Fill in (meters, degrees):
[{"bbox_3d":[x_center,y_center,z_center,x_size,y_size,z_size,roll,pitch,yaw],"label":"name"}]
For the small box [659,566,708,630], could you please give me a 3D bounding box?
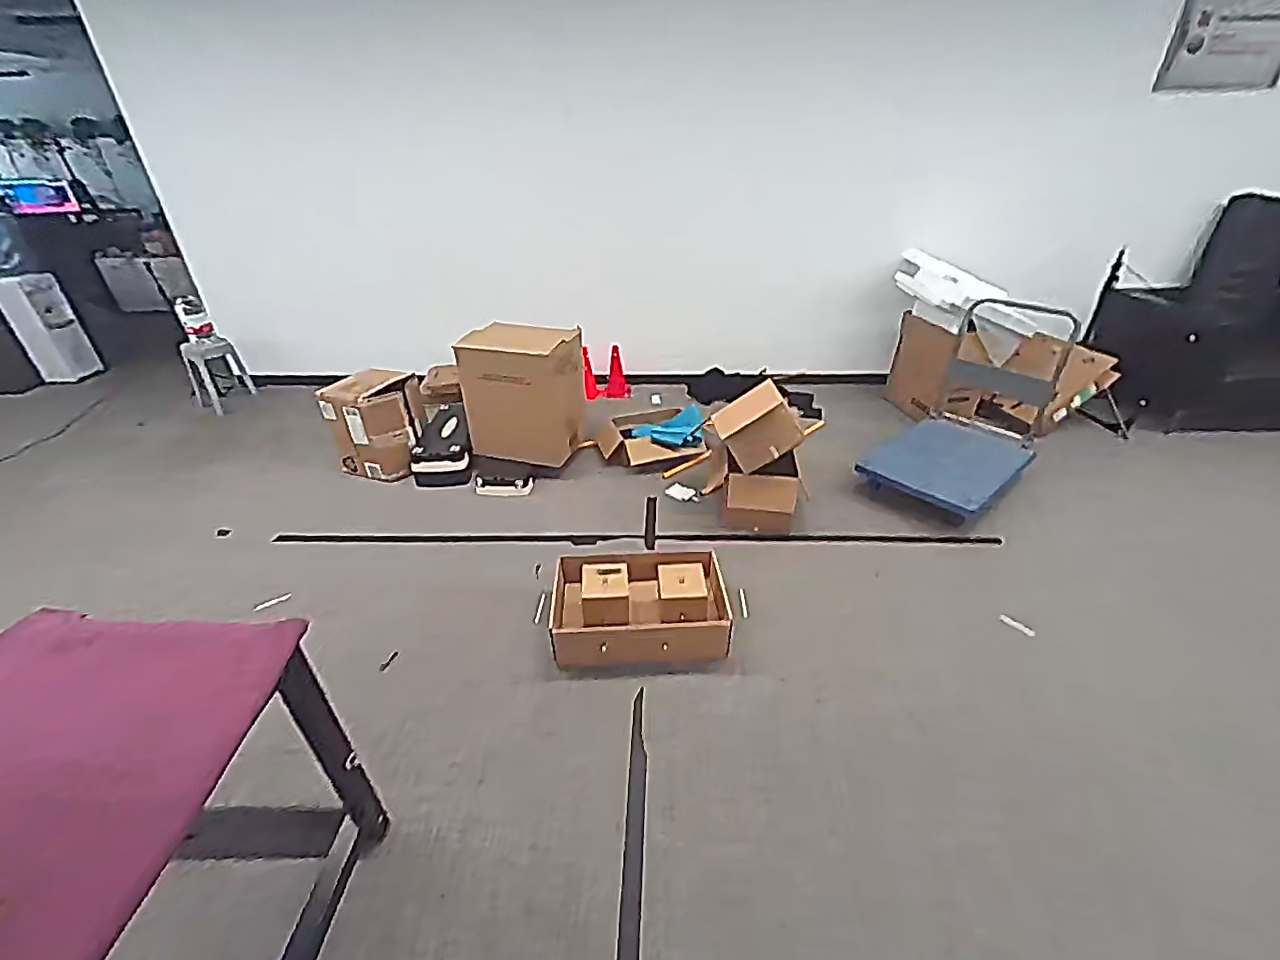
[{"bbox_3d":[0.157,0.436,1.981,0.168,0.176,0.179,-2,30,-1],"label":"small box"}]
